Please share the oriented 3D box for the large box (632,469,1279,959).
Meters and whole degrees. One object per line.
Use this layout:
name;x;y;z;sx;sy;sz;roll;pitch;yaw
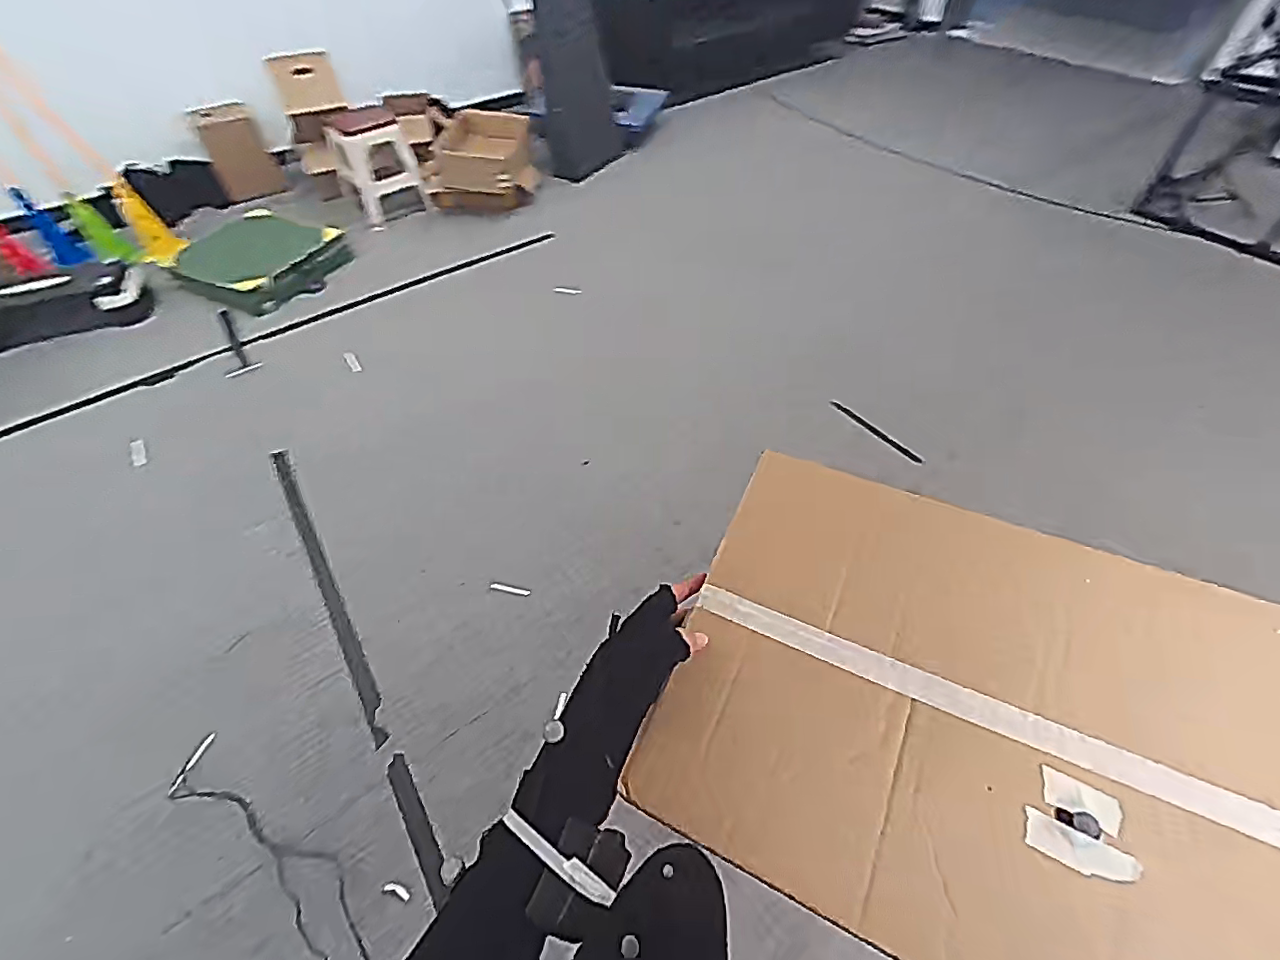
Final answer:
large box;0.250;0.243;0.512;0.408;0.320;0.320;19;63;20
